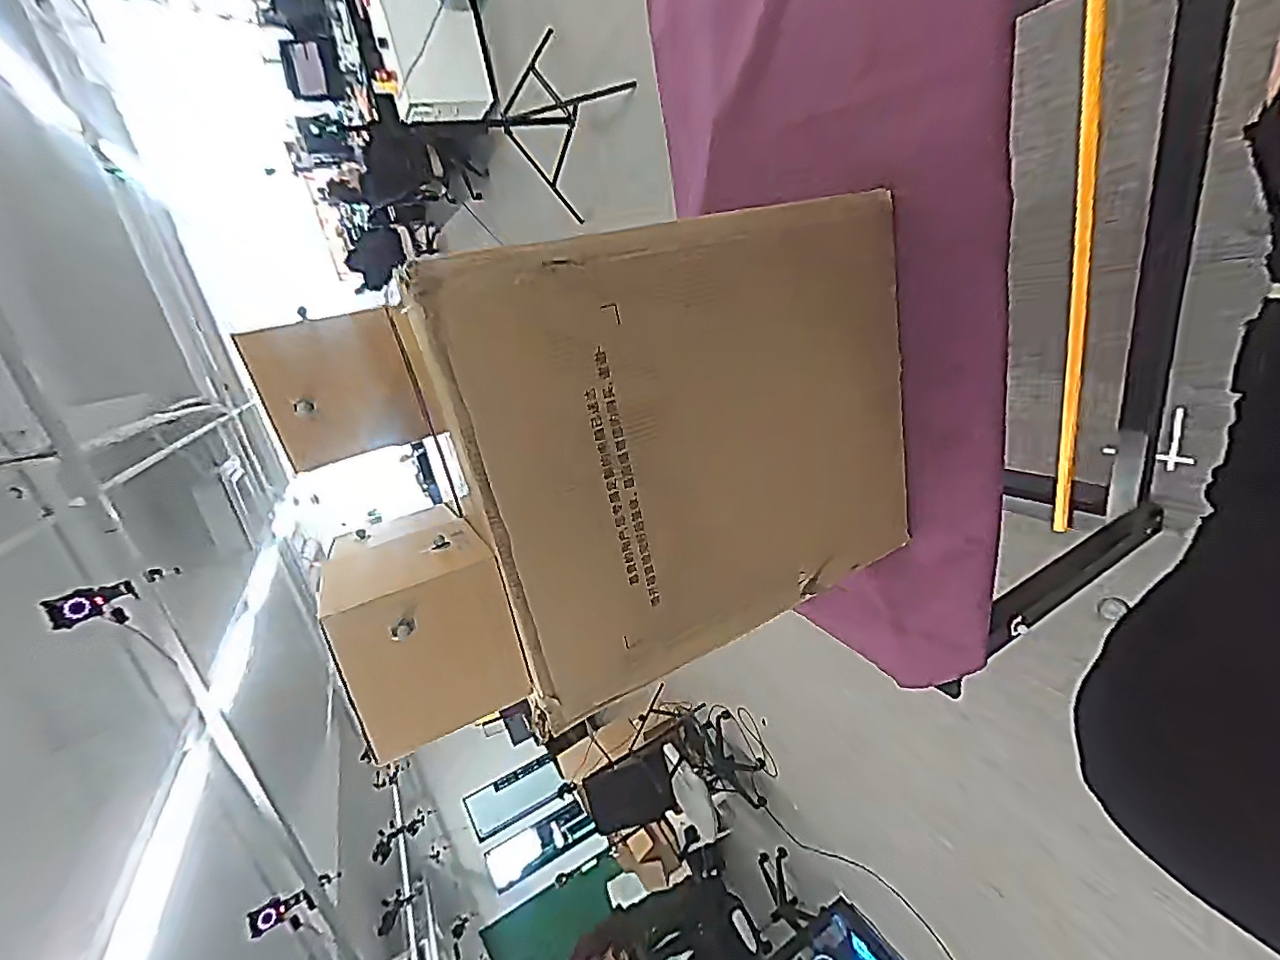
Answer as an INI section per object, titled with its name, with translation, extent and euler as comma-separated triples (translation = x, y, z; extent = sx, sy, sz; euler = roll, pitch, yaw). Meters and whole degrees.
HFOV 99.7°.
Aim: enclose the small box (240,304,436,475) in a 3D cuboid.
[small box]
translation = -0.396, -0.133, 0.727
extent = 0.168, 0.176, 0.179
euler = 31, 138, 56
